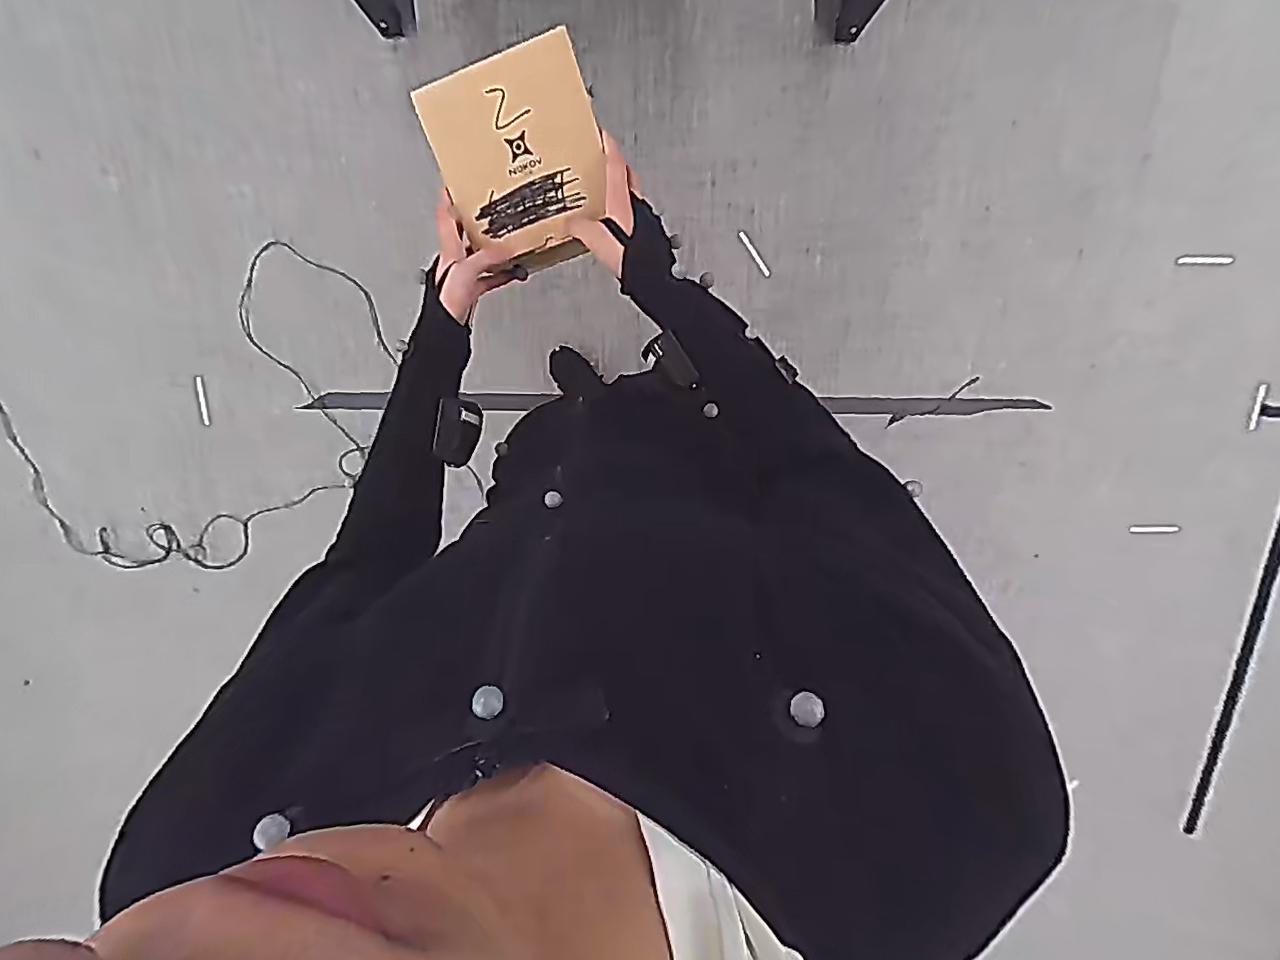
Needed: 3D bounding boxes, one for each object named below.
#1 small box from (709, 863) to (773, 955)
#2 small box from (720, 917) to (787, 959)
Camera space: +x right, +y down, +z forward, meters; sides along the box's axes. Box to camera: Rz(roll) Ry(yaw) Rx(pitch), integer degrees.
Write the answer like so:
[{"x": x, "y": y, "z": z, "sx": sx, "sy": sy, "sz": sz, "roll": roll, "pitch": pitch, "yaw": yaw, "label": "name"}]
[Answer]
[{"x": 0.321, "y": 1.397, "z": 1.761, "sx": 0.168, "sy": 0.176, "sz": 0.179, "roll": 3, "pitch": 105, "yaw": -3, "label": "small box"}, {"x": 0.341, "y": 1.440, "z": 1.603, "sx": 0.179, "sy": 0.176, "sz": 0.168, "roll": -4, "pitch": 106, "yaw": -1, "label": "small box"}]
